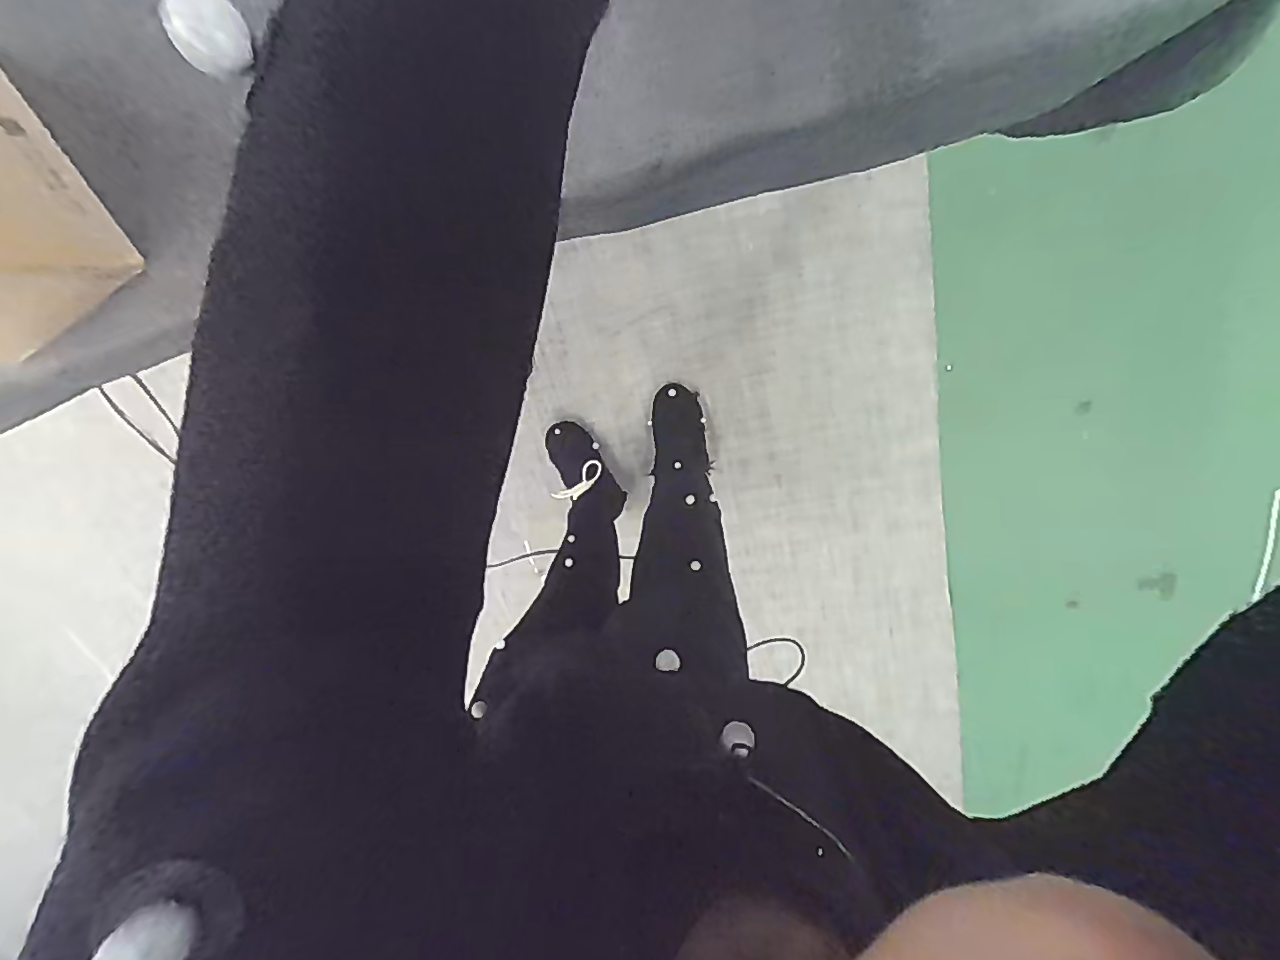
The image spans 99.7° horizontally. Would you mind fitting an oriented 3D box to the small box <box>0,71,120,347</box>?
[{"bbox_3d":[-0.512,-0.183,0.352,0.179,0.176,0.168,-23,109,15],"label":"small box"}]
